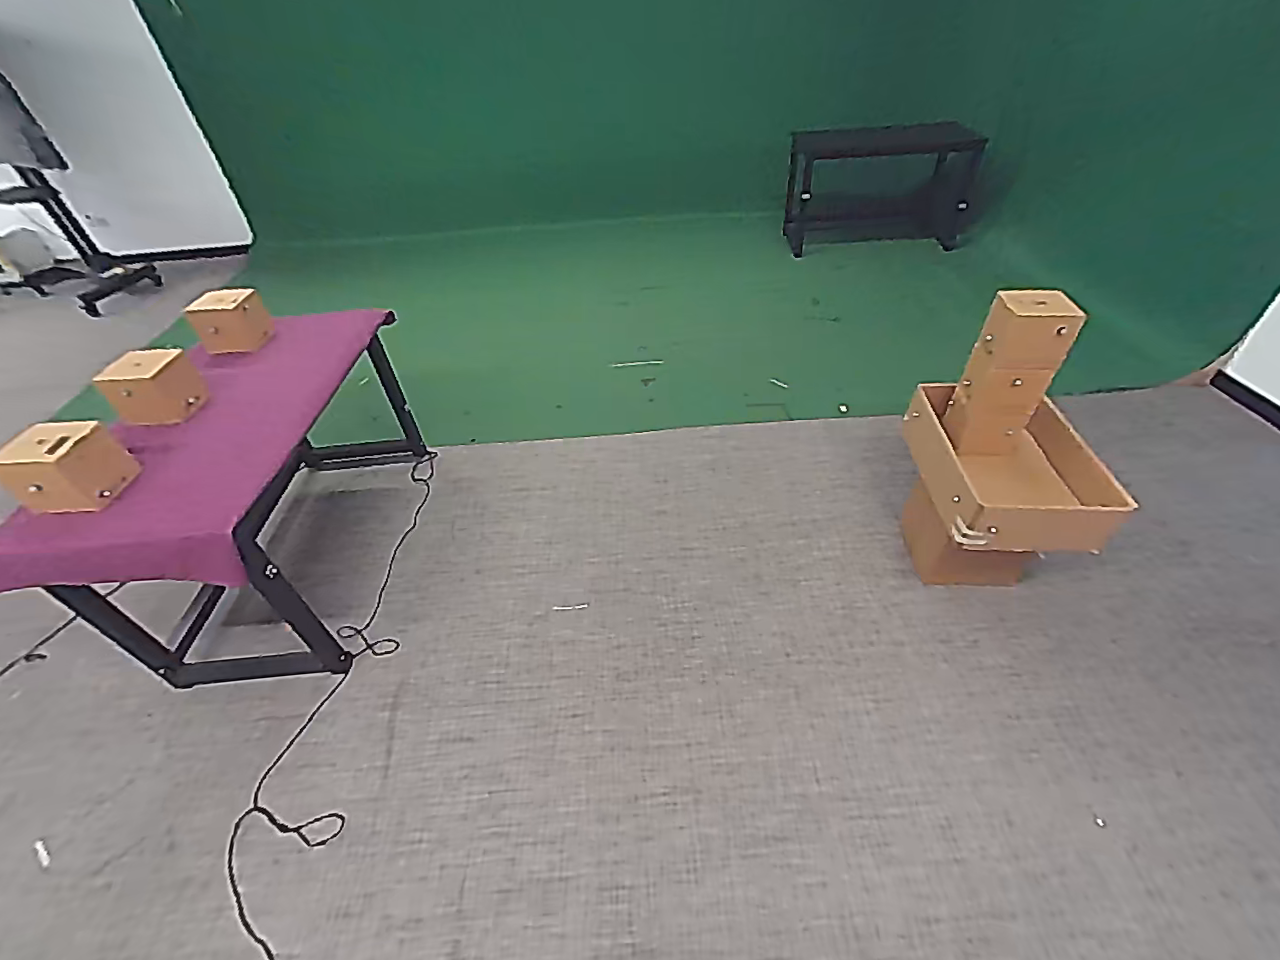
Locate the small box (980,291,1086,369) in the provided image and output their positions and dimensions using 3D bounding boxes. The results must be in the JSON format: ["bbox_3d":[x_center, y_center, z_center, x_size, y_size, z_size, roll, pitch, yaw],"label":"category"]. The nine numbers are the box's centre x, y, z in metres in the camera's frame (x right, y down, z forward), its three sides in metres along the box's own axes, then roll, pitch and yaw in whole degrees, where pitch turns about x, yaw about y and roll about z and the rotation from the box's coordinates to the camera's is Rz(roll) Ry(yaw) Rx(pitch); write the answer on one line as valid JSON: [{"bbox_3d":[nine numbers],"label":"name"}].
[{"bbox_3d":[1.140,-0.436,1.585,0.179,0.176,0.168,2,42,8],"label":"small box"}]

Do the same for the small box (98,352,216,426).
[{"bbox_3d":[-1.483,-0.280,1.674,0.179,0.176,0.168,-2,43,2],"label":"small box"}]

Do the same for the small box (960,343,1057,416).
[{"bbox_3d":[1.146,-0.315,1.696,0.179,0.176,0.168,2,43,7],"label":"small box"}]

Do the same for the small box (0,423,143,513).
[{"bbox_3d":[-1.458,-0.029,1.393,0.179,0.176,0.168,-3,42,1],"label":"small box"}]

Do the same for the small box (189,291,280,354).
[{"bbox_3d":[-1.486,-0.578,1.994,0.179,0.176,0.168,-3,44,1],"label":"small box"}]
